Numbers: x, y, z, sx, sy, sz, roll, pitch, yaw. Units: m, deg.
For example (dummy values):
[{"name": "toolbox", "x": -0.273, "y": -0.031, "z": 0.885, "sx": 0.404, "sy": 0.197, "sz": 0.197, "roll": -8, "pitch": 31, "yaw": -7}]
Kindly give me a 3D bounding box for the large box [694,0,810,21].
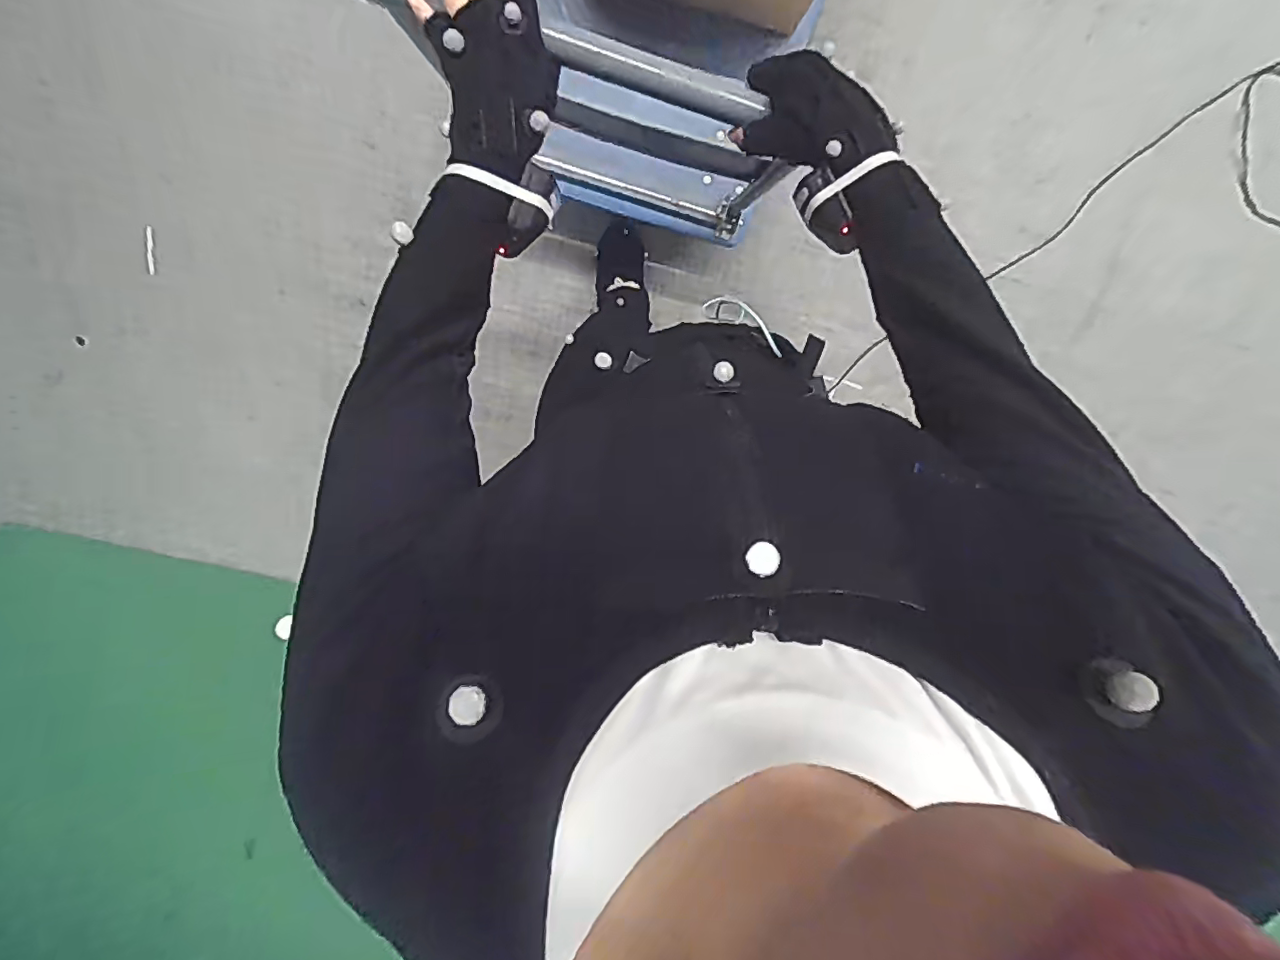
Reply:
[{"name": "large box", "x": 0.122, "y": -0.970, "z": 0.811, "sx": 0.408, "sy": 0.320, "sz": 0.320, "roll": 11, "pitch": 111, "yaw": -3}]
